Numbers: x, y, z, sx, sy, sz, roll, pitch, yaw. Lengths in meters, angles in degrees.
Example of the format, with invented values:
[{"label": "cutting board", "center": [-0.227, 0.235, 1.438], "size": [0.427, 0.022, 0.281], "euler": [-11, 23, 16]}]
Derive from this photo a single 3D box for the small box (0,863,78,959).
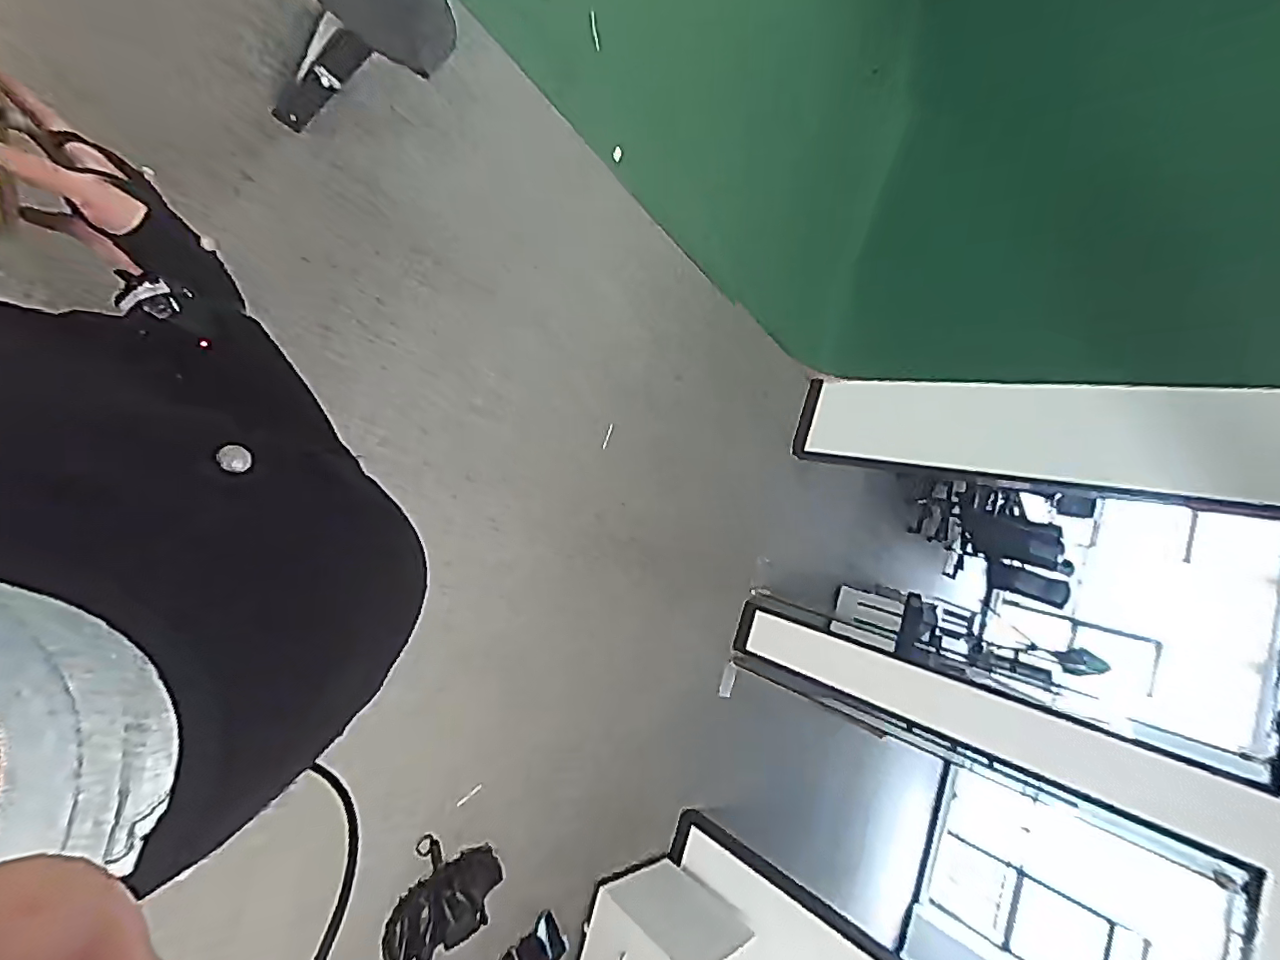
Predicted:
[{"label": "small box", "center": [-1.282, 0.930, 1.092], "size": [0.168, 0.176, 0.179], "euler": [20, 82, -49]}]
